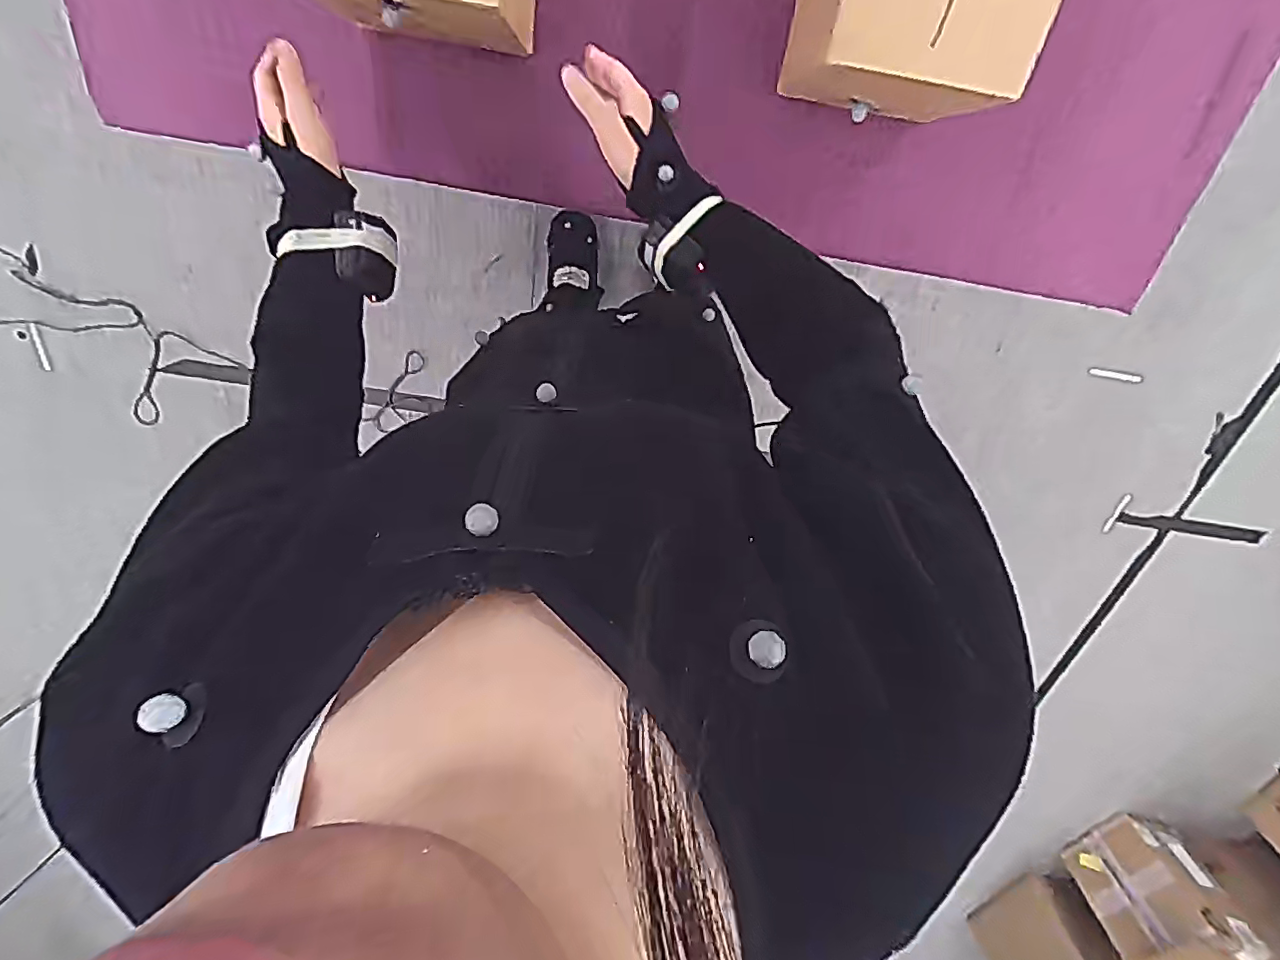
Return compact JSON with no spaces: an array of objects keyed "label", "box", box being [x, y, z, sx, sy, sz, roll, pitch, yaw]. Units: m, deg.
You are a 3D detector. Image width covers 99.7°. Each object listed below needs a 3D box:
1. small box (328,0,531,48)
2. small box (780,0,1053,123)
[{"label":"small box","box":[-0.180,-0.476,0.435,0.179,0.176,0.168,7,118,-5]},{"label":"small box","box":[0.235,-0.432,0.465,0.168,0.176,0.179,8,118,-5]}]
